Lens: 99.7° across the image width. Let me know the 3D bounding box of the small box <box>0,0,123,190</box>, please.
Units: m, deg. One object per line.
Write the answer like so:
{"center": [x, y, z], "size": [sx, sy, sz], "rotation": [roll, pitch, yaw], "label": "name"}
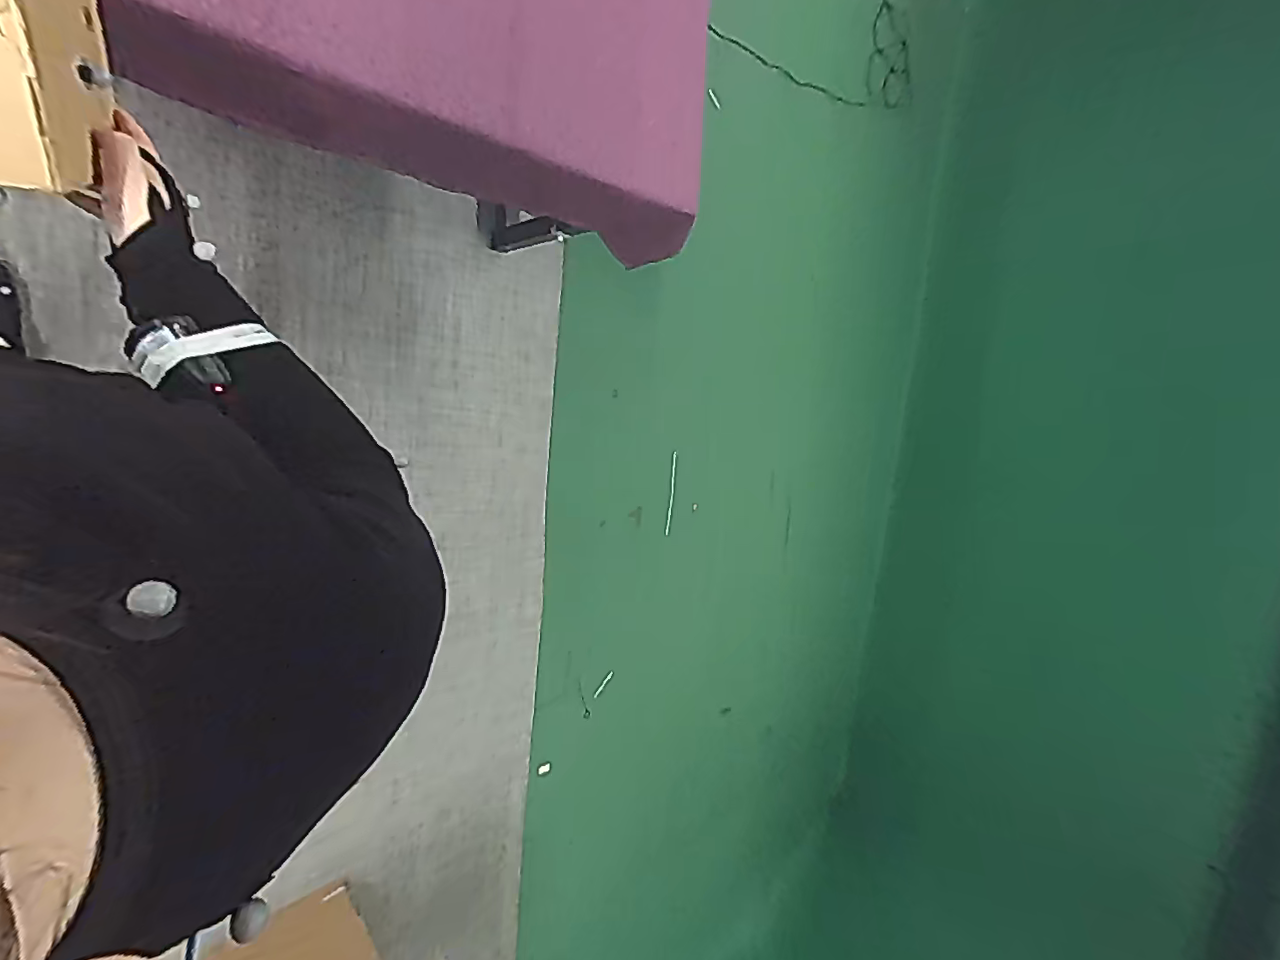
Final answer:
{"center": [-0.452, -0.283, 0.316], "size": [0.179, 0.176, 0.168], "rotation": [-4, 121, -31], "label": "small box"}
